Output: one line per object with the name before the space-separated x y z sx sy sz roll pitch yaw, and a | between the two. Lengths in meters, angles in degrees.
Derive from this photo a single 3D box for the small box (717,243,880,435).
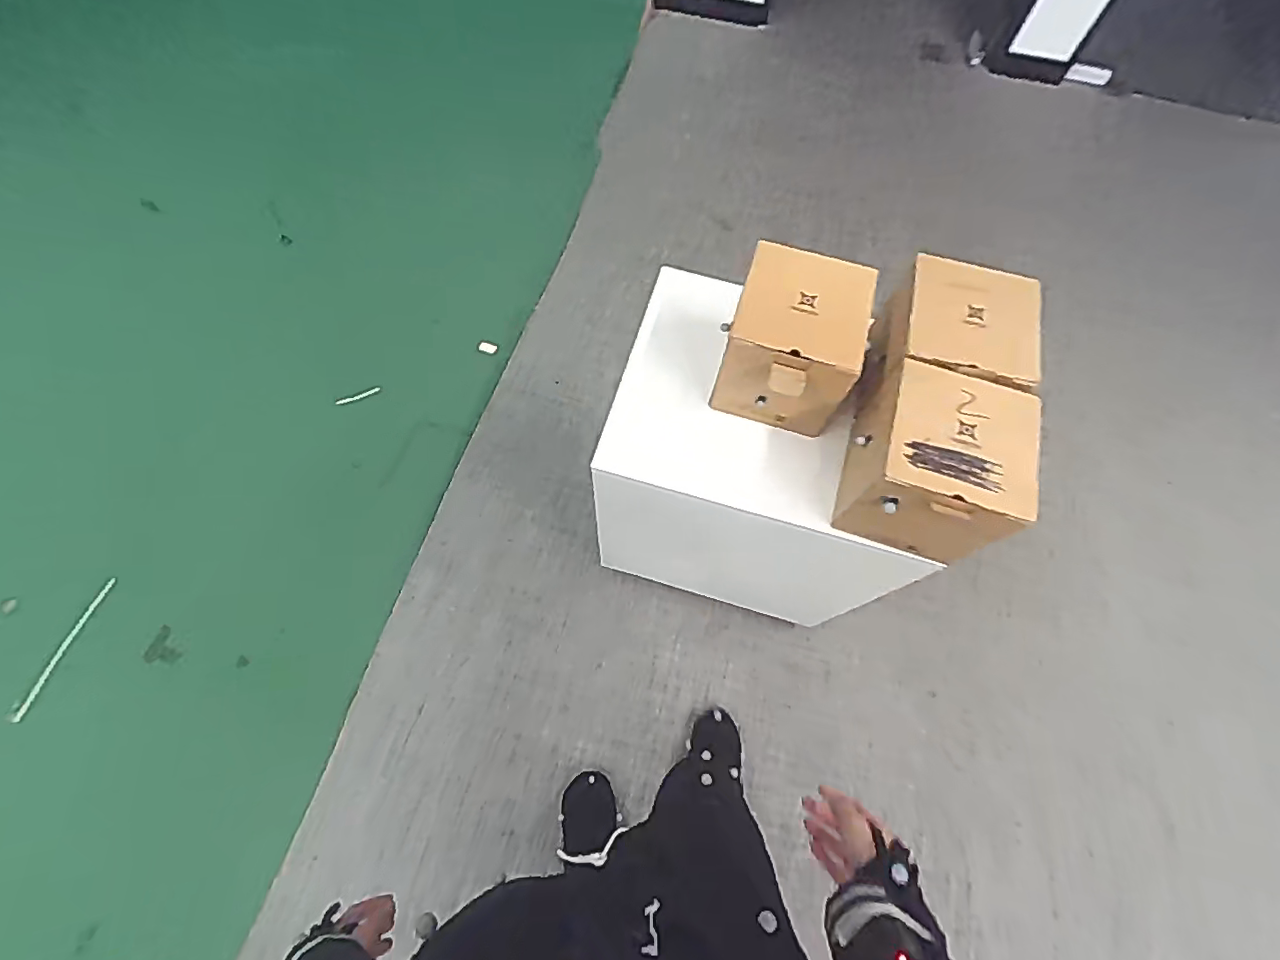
small box | 0.215 -0.192 0.766 0.168 0.176 0.179 16 67 5
